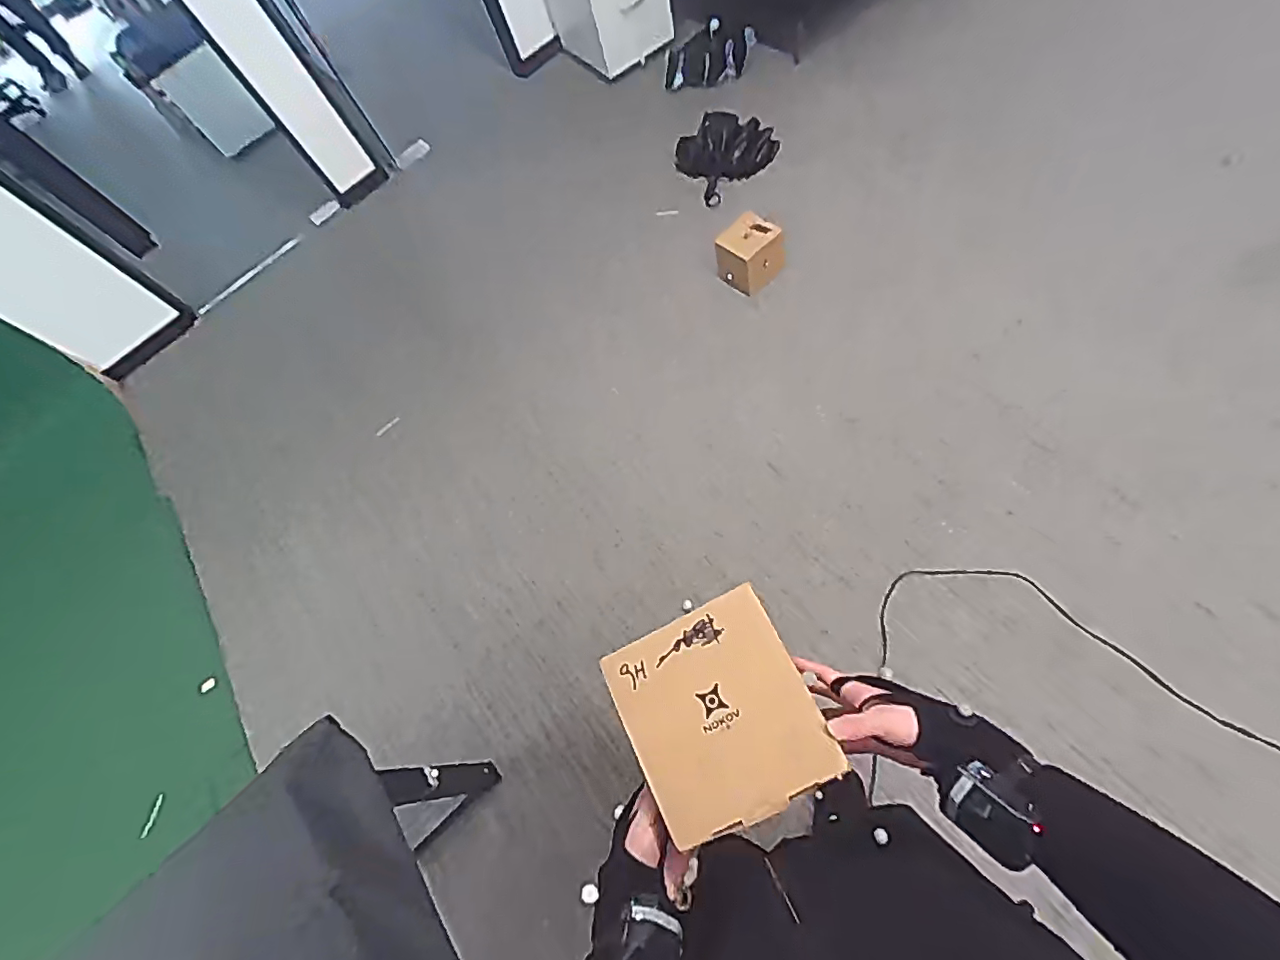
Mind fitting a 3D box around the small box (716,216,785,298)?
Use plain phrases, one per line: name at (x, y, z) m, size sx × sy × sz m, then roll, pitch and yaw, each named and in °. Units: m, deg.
small box at (0.396, -0.791, 1.926) m, size 0.179 × 0.176 × 0.168 m, roll -42°, pitch 61°, yaw -5°
